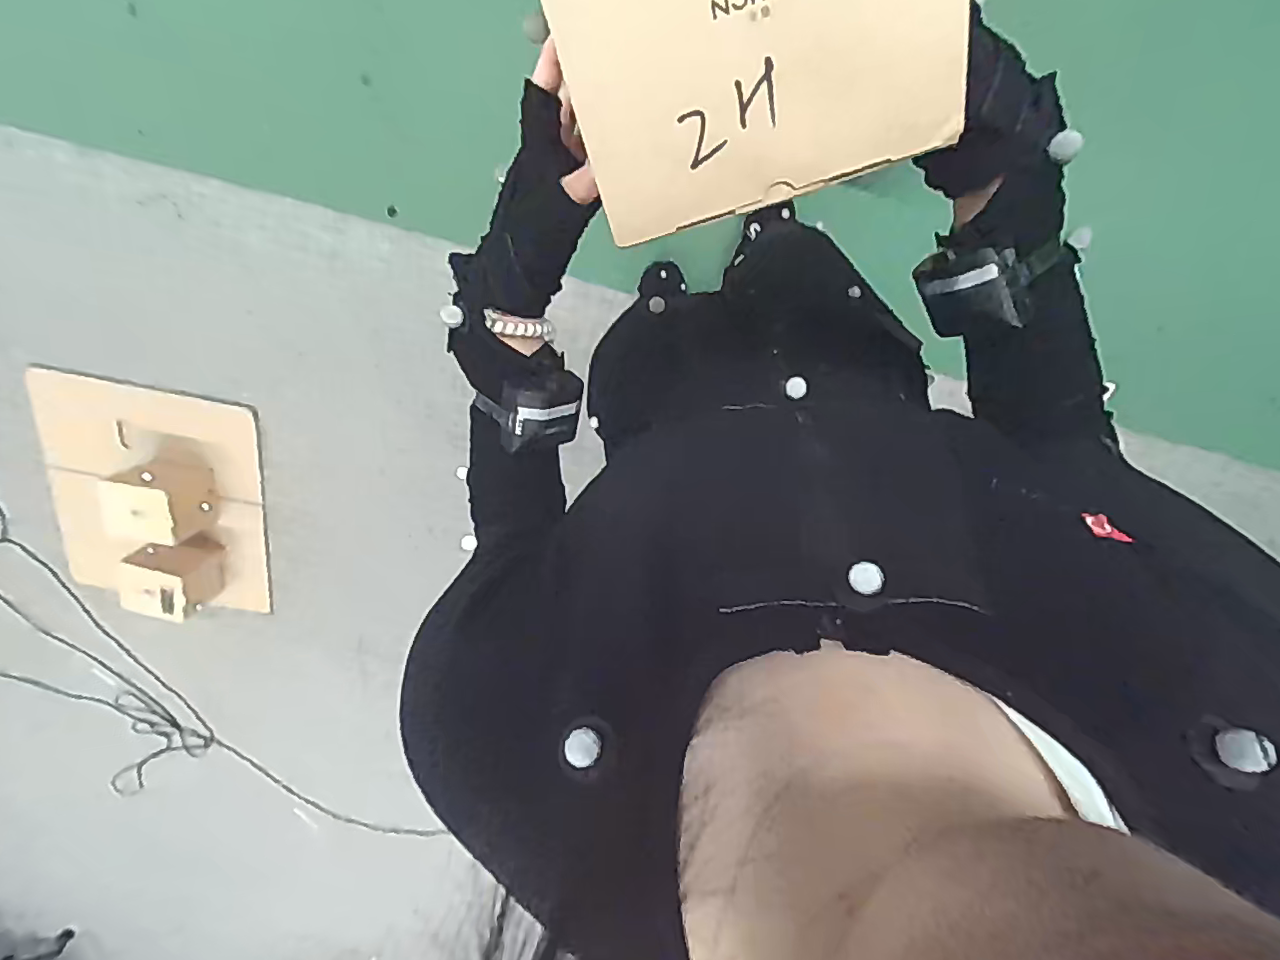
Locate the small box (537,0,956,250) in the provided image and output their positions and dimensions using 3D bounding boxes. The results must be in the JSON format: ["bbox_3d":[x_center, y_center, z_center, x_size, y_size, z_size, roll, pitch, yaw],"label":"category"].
[{"bbox_3d":[0.039,-0.247,0.279,0.168,0.176,0.179,-14,124,11],"label":"small box"}]

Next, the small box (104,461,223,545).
[{"bbox_3d":[-1.309,0.058,1.497,0.179,0.176,0.168,9,112,-3],"label":"small box"}]
